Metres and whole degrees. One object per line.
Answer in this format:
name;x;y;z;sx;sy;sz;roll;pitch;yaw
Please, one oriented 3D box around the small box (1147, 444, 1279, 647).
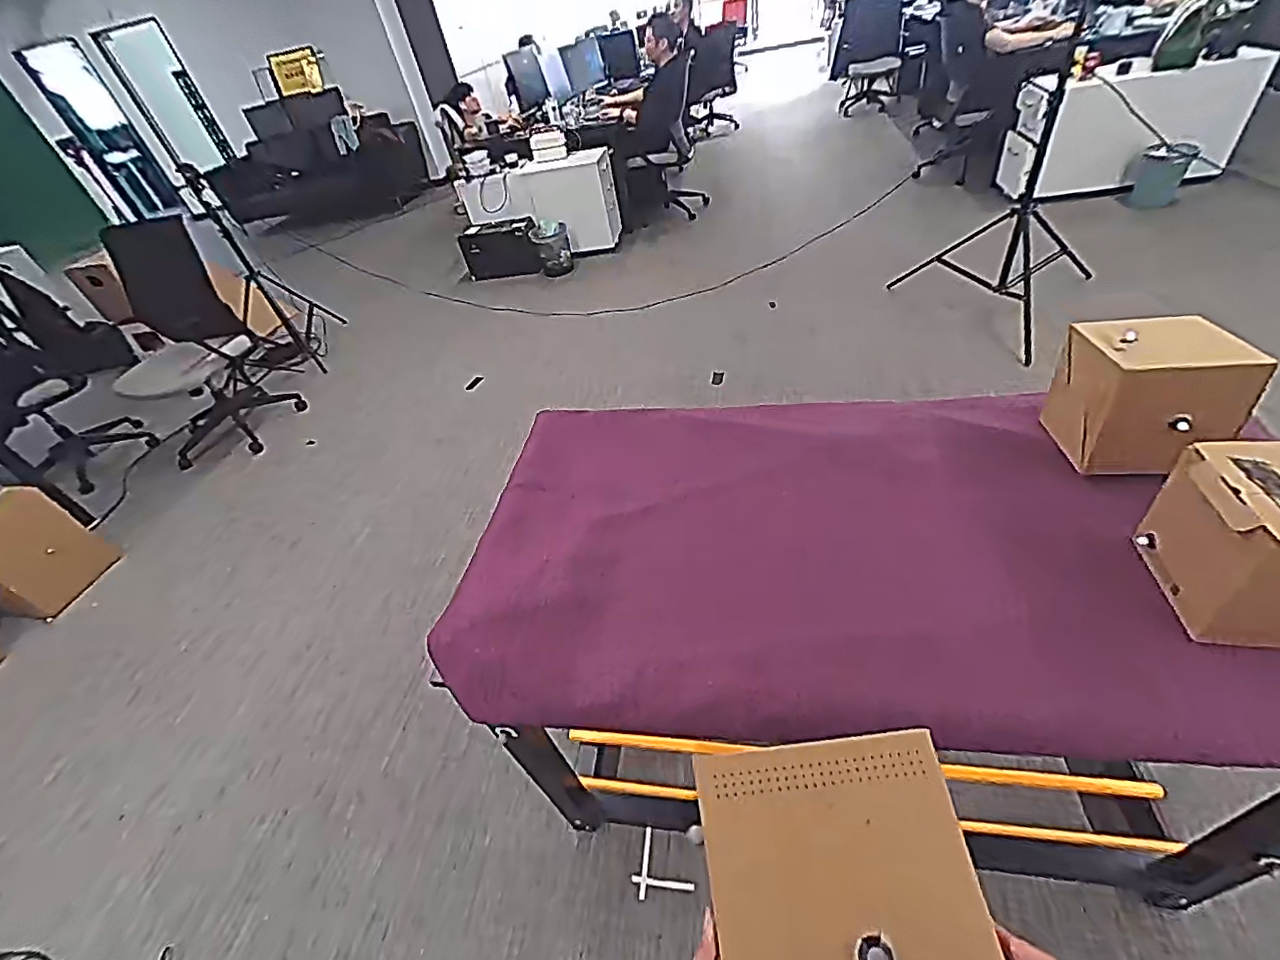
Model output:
small box;0.724;0.076;0.605;0.179;0.176;0.168;1;42;15
